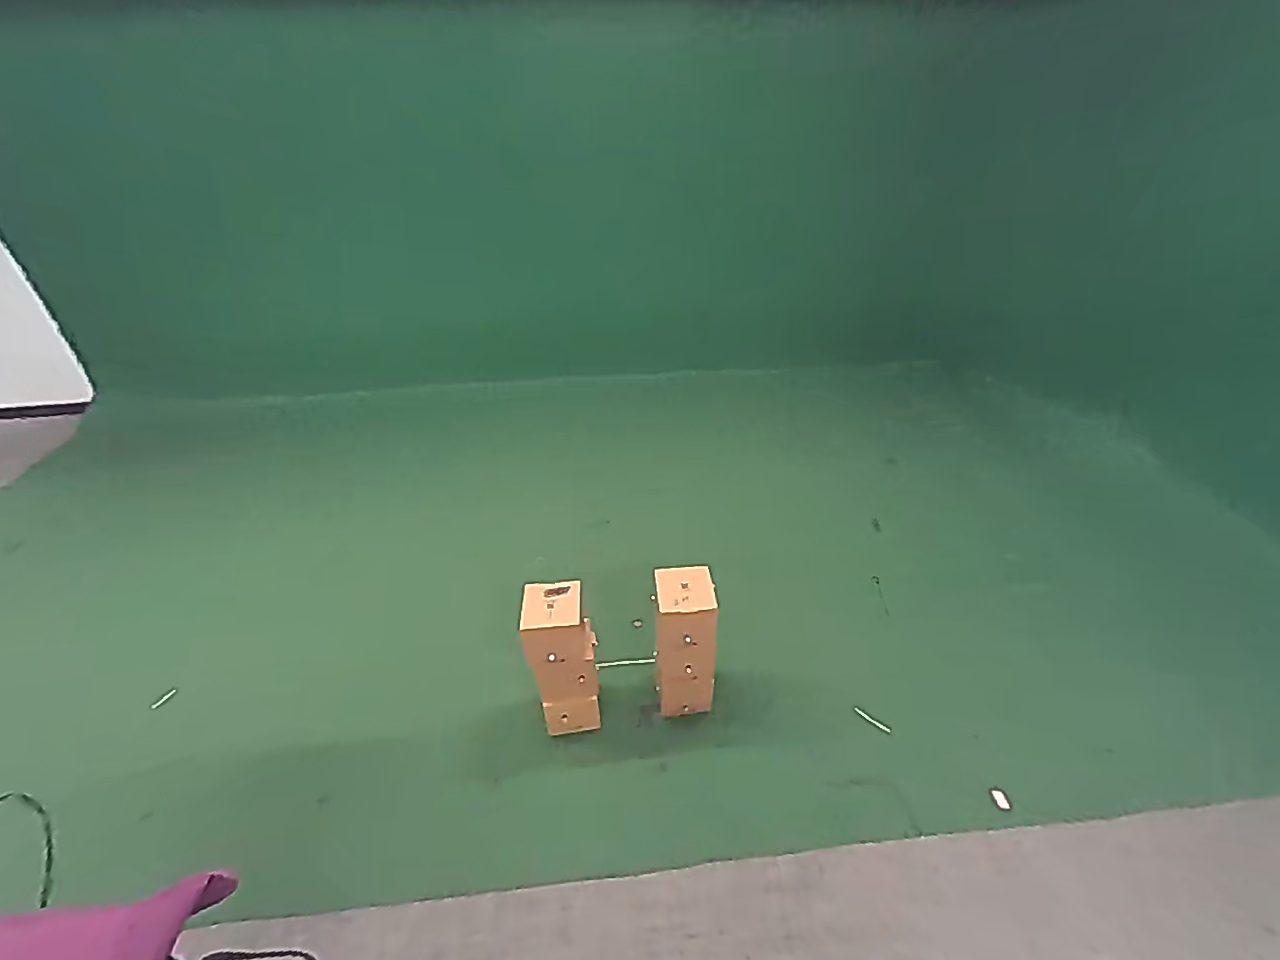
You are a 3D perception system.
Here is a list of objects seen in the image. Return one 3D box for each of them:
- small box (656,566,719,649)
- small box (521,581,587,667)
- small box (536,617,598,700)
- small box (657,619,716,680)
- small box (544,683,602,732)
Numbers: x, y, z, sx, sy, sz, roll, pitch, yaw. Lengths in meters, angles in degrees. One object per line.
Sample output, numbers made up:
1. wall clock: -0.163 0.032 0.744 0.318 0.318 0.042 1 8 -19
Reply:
1. small box: 0.136 0.379 1.612 0.168 0.176 0.179 -3 36 -2
2. small box: -0.245 0.419 1.580 0.168 0.176 0.179 -4 34 -2
3. small box: -0.224 0.553 1.673 0.179 0.176 0.168 -6 34 -6
4. small box: 0.143 0.514 1.707 0.168 0.176 0.179 -3 37 -4
5. small box: -0.217 0.695 1.753 0.168 0.176 0.179 -6 34 -6
